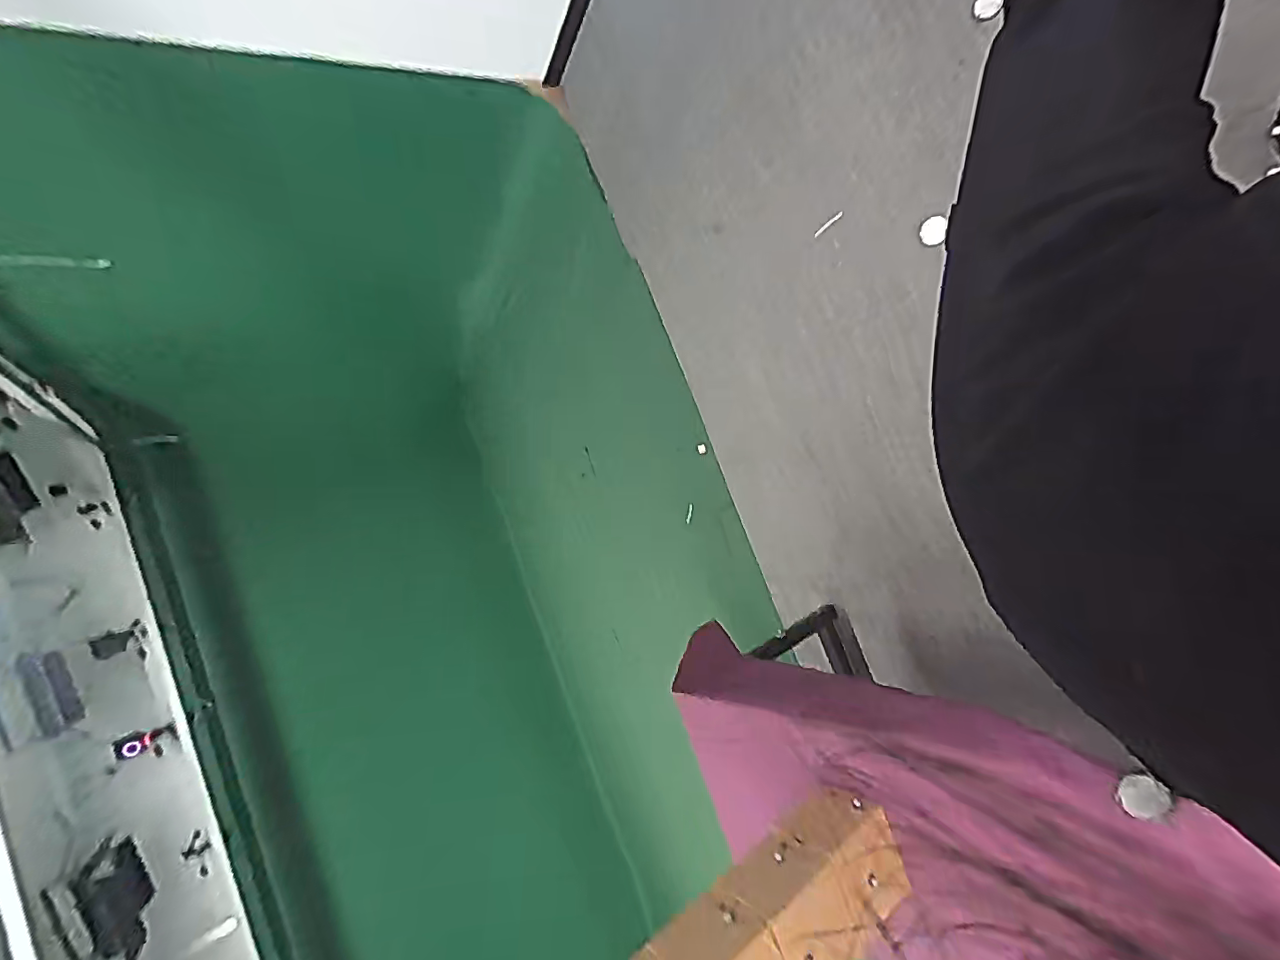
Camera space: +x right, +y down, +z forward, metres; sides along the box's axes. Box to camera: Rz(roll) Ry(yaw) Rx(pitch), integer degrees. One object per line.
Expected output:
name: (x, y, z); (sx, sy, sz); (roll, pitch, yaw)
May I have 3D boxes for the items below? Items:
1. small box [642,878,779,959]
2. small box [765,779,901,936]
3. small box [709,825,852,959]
small box: (0.135, 0.853, 0.934); (0.168, 0.176, 0.179); (-23, 86, 58)
small box: (0.395, 0.754, 1.107); (0.168, 0.176, 0.179); (-22, 88, 58)
small box: (0.265, 0.805, 1.019); (0.168, 0.176, 0.179); (-23, 86, 58)
